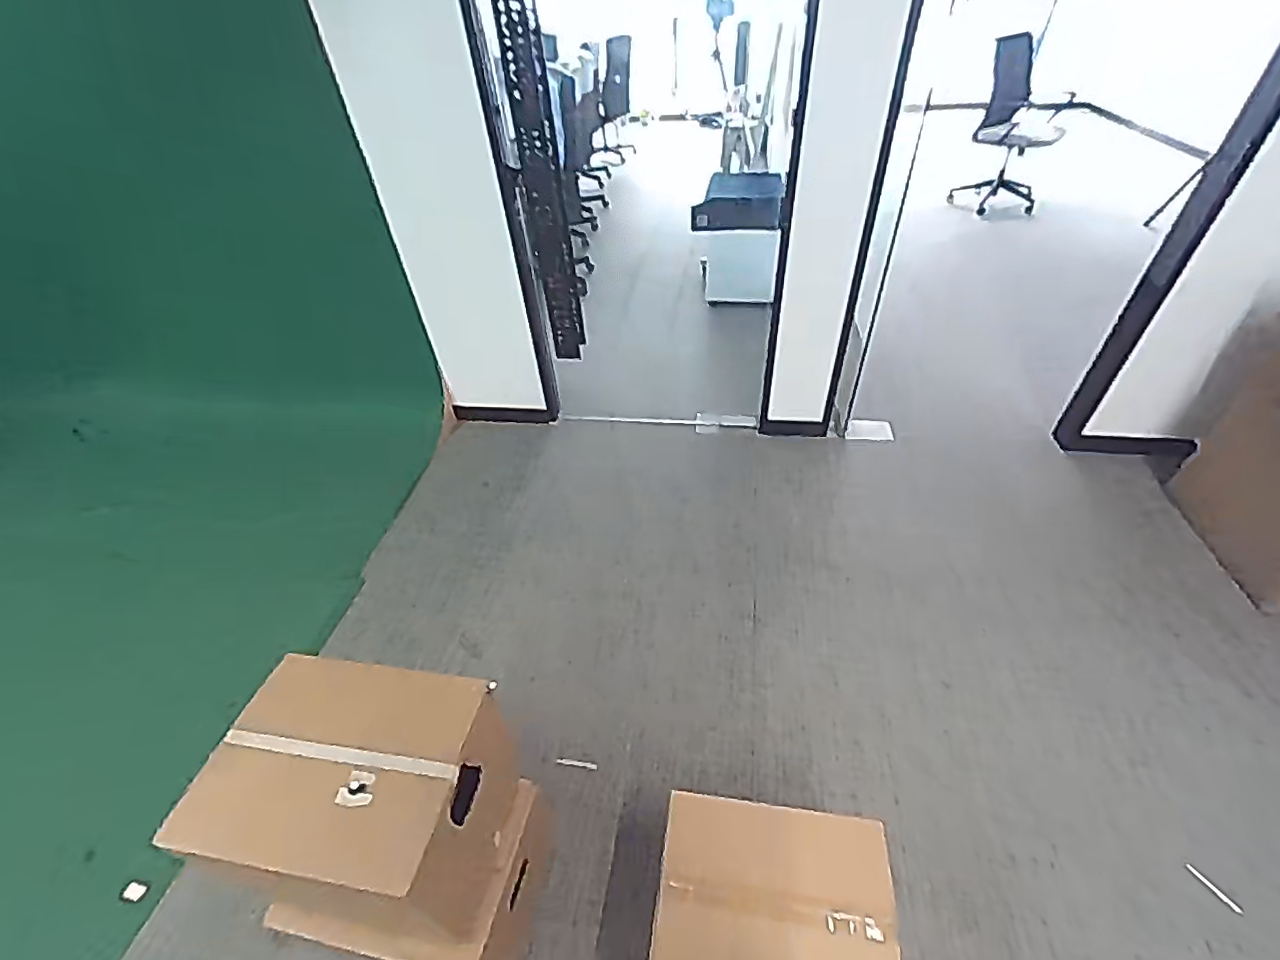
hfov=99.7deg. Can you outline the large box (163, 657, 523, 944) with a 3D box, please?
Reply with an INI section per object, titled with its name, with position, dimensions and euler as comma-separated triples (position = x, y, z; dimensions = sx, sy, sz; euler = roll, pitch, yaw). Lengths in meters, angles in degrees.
[large box]
position = -0.467, 0.554, 0.955
dimensions = 0.408, 0.320, 0.320
euler = 5, 40, 9
